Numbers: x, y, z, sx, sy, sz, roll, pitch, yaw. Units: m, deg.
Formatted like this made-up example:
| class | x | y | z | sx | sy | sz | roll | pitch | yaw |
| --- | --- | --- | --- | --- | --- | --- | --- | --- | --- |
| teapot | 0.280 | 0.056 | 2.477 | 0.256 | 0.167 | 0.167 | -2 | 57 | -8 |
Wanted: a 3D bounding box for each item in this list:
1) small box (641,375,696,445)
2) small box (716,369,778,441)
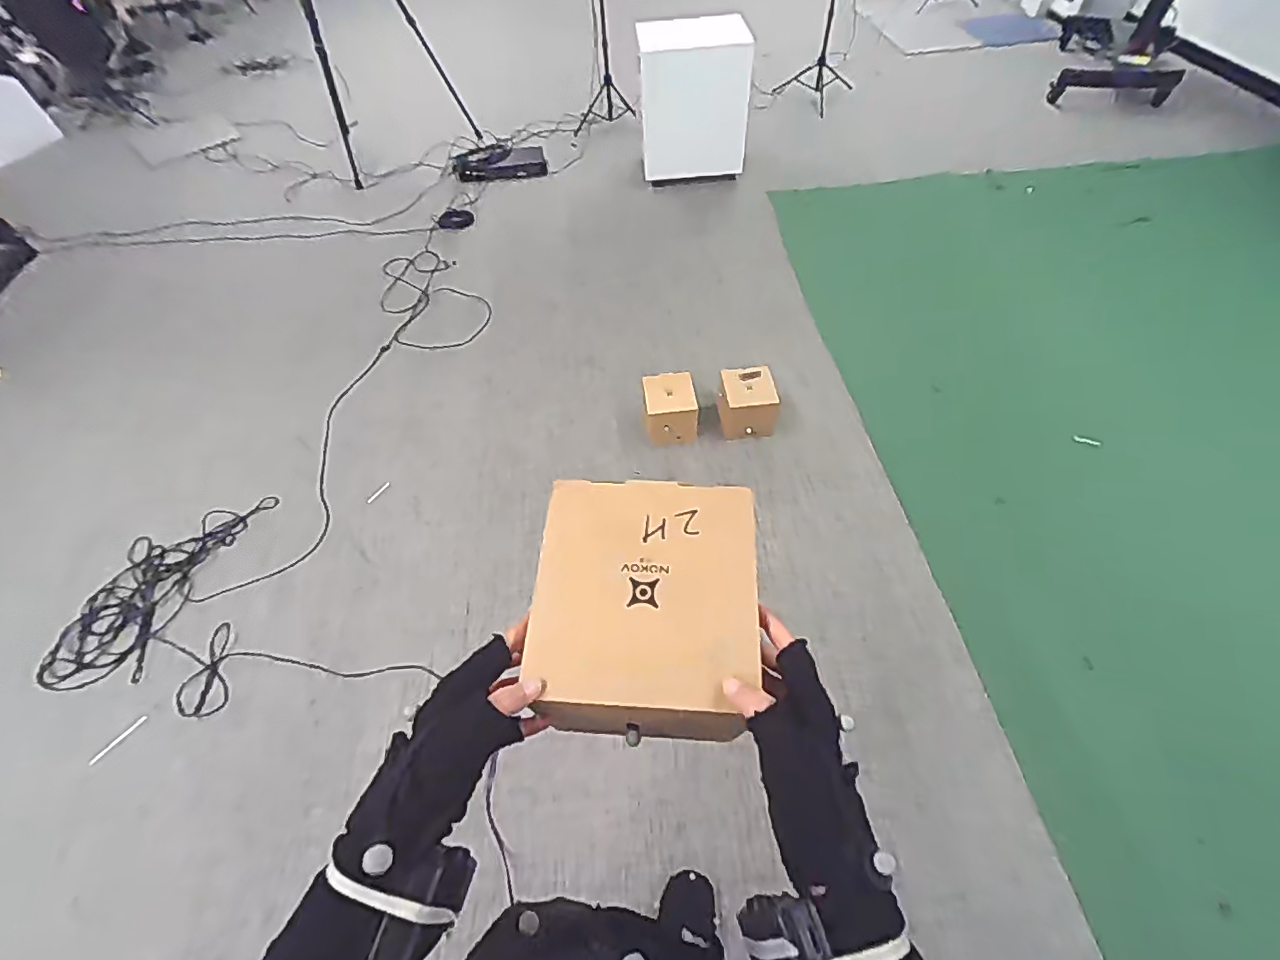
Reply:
| class | x | y | z | sx | sy | sz | roll | pitch | yaw |
| --- | --- | --- | --- | --- | --- | --- | --- | --- | --- |
| small box | 0.098 | -0.232 | 1.852 | 0.168 | 0.176 | 0.179 | -7 | 54 | -2 |
| small box | 0.361 | -0.255 | 1.853 | 0.168 | 0.176 | 0.179 | -6 | 55 | -2 |
